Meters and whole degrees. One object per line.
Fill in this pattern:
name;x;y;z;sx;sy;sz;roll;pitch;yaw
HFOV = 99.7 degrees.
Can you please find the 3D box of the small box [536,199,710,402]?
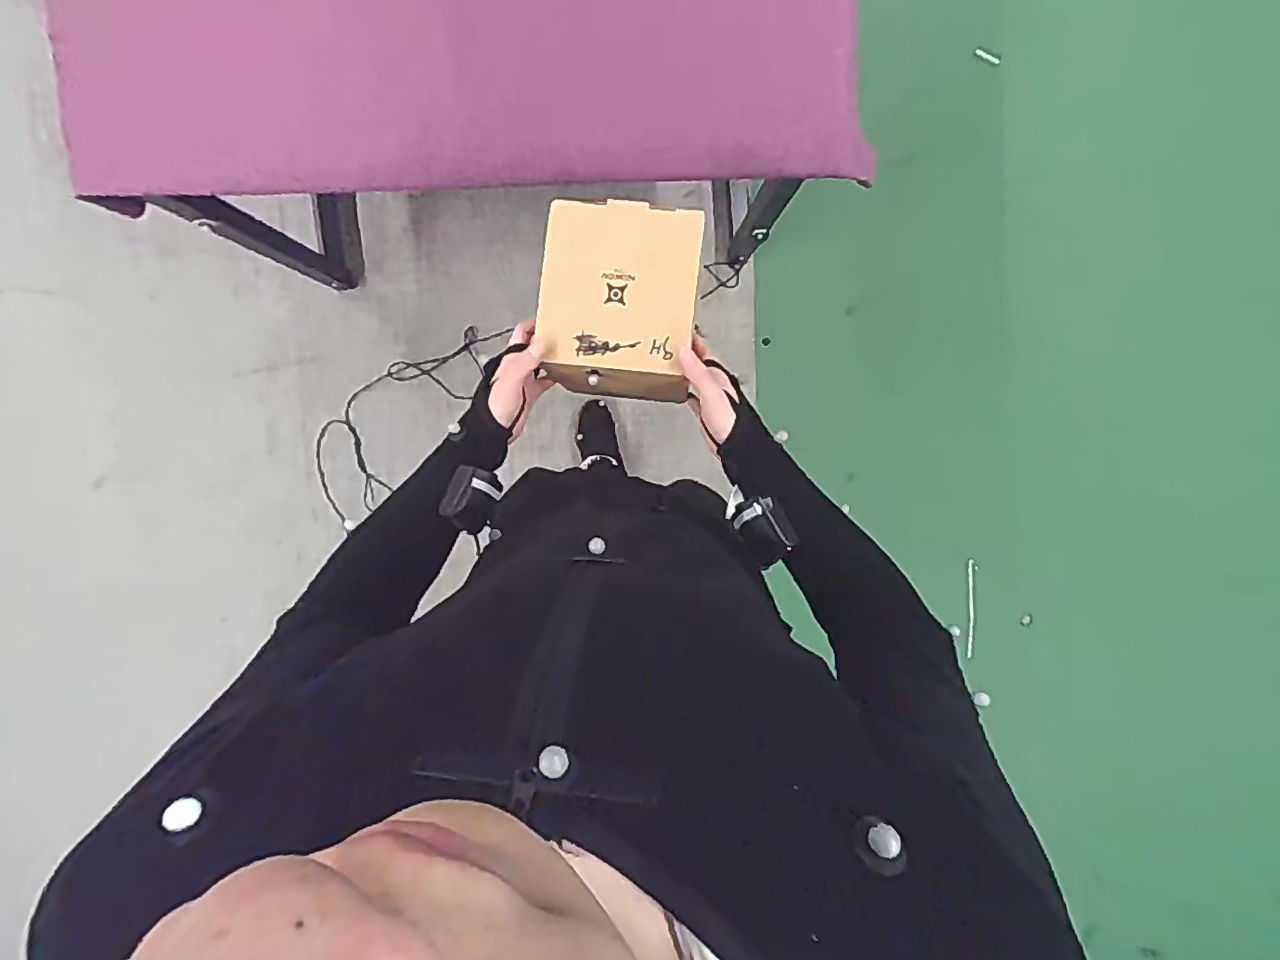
small box;-0.014;-0.201;0.647;0.168;0.176;0.179;7;90;5
